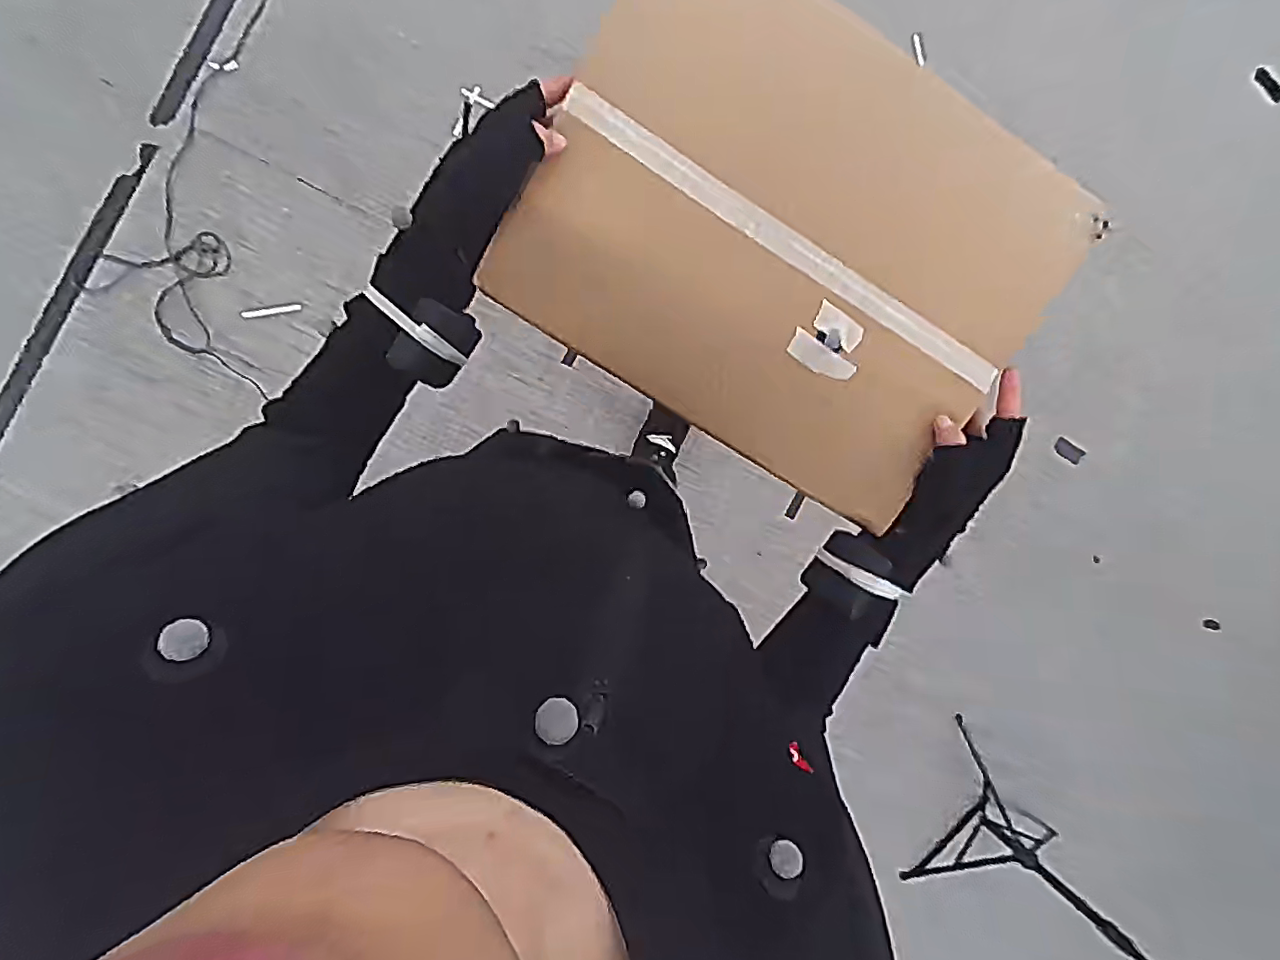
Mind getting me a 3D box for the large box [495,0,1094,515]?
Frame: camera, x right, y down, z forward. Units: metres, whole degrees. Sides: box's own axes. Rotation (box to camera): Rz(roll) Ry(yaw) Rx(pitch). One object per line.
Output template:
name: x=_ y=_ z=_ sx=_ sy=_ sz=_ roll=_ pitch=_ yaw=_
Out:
large box: x=0.120 y=-0.222 z=0.585 sx=0.408 sy=0.320 sz=0.320 roll=31 pitch=100 yaw=-8
